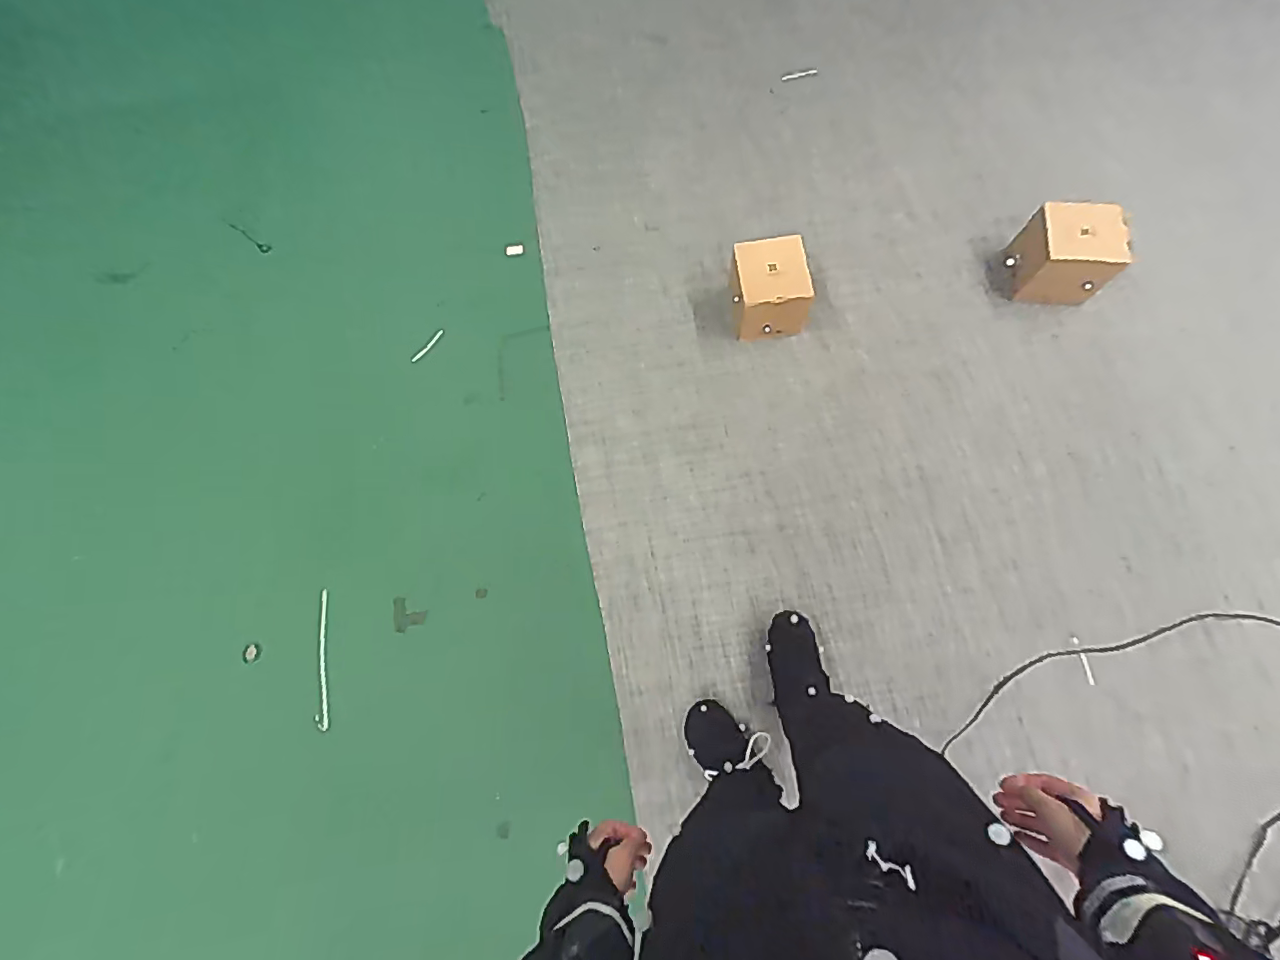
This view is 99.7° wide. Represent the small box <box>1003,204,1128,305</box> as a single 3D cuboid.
[{"bbox_3d":[1.039,-0.550,1.335,0.179,0.176,0.168,4,73,6],"label":"small box"}]

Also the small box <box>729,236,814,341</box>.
[{"bbox_3d":[0.323,-0.478,1.366,0.168,0.176,0.179,-8,74,2],"label":"small box"}]
